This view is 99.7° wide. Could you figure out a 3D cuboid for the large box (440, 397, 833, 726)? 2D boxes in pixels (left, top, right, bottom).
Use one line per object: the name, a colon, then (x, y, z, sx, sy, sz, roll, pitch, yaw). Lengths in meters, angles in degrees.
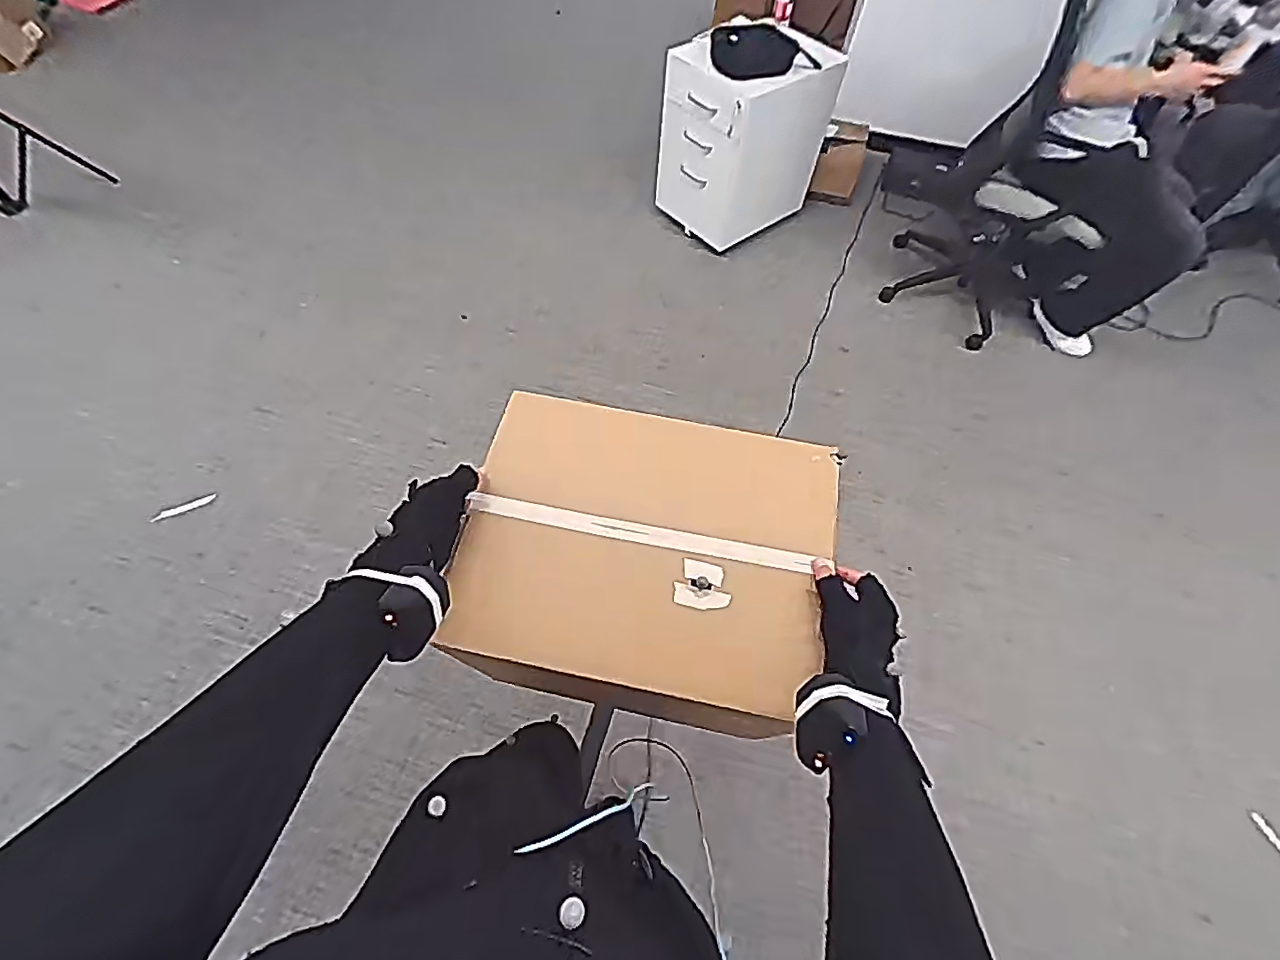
large box: (0.009, 0.127, 0.742, 0.408, 0.320, 0.320, 11, 64, 4)
